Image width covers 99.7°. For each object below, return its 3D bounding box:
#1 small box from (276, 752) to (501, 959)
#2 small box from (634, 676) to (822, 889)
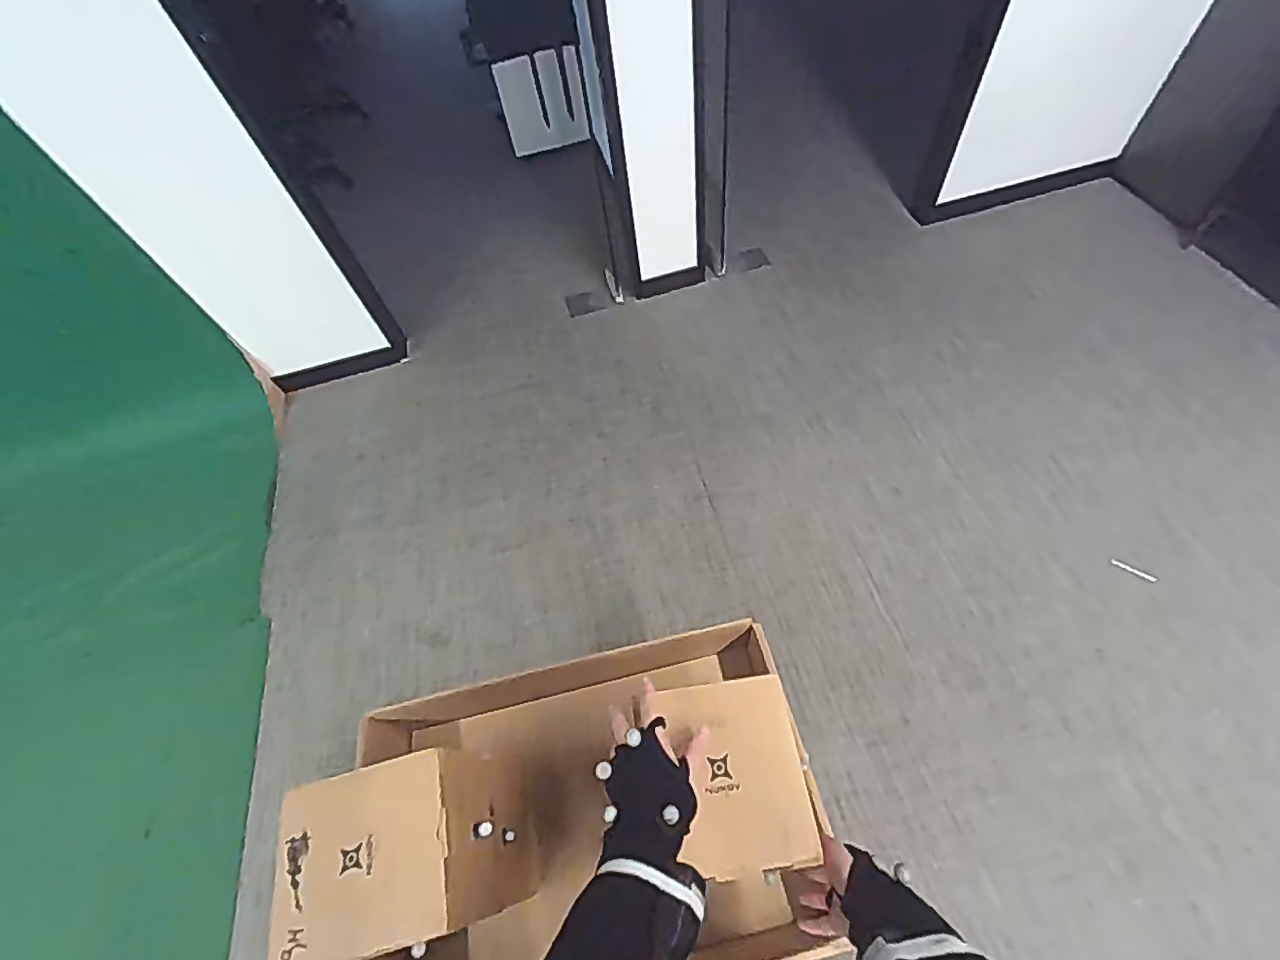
[{"bbox_3d":[-0.266,0.424,0.612,0.179,0.176,0.168,-15,57,-2],"label":"small box"},{"bbox_3d":[0.091,0.340,0.614,0.168,0.176,0.179,-9,56,1],"label":"small box"}]
